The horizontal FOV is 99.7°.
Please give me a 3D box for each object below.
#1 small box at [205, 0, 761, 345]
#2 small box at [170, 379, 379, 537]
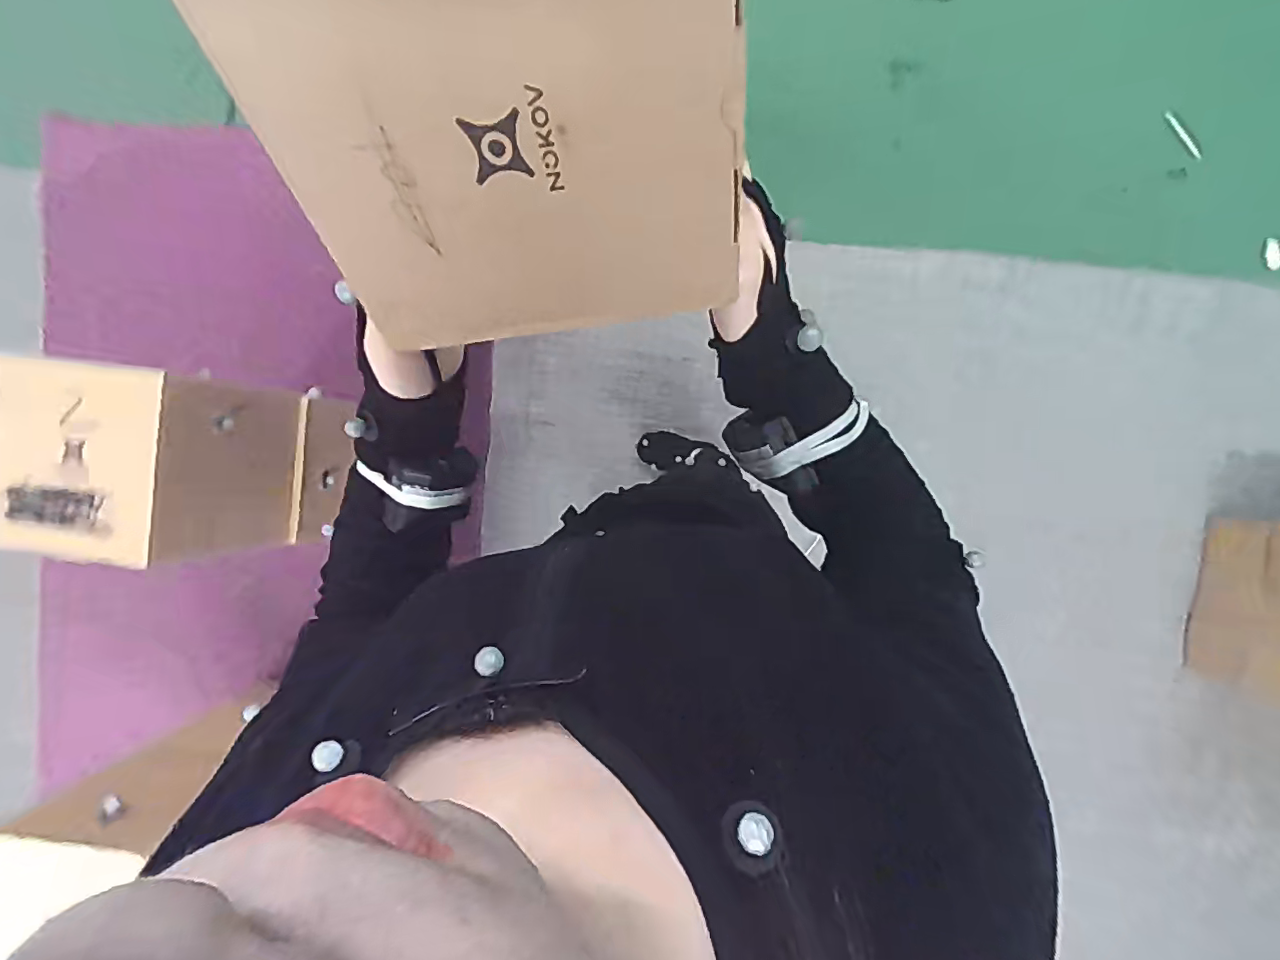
[{"bbox_3d":[-0.047,-0.188,0.253,0.179,0.168,0.176,-4,52,4],"label":"small box"},{"bbox_3d":[-0.473,-0.030,0.723,0.168,0.176,0.179,6,93,4],"label":"small box"}]
